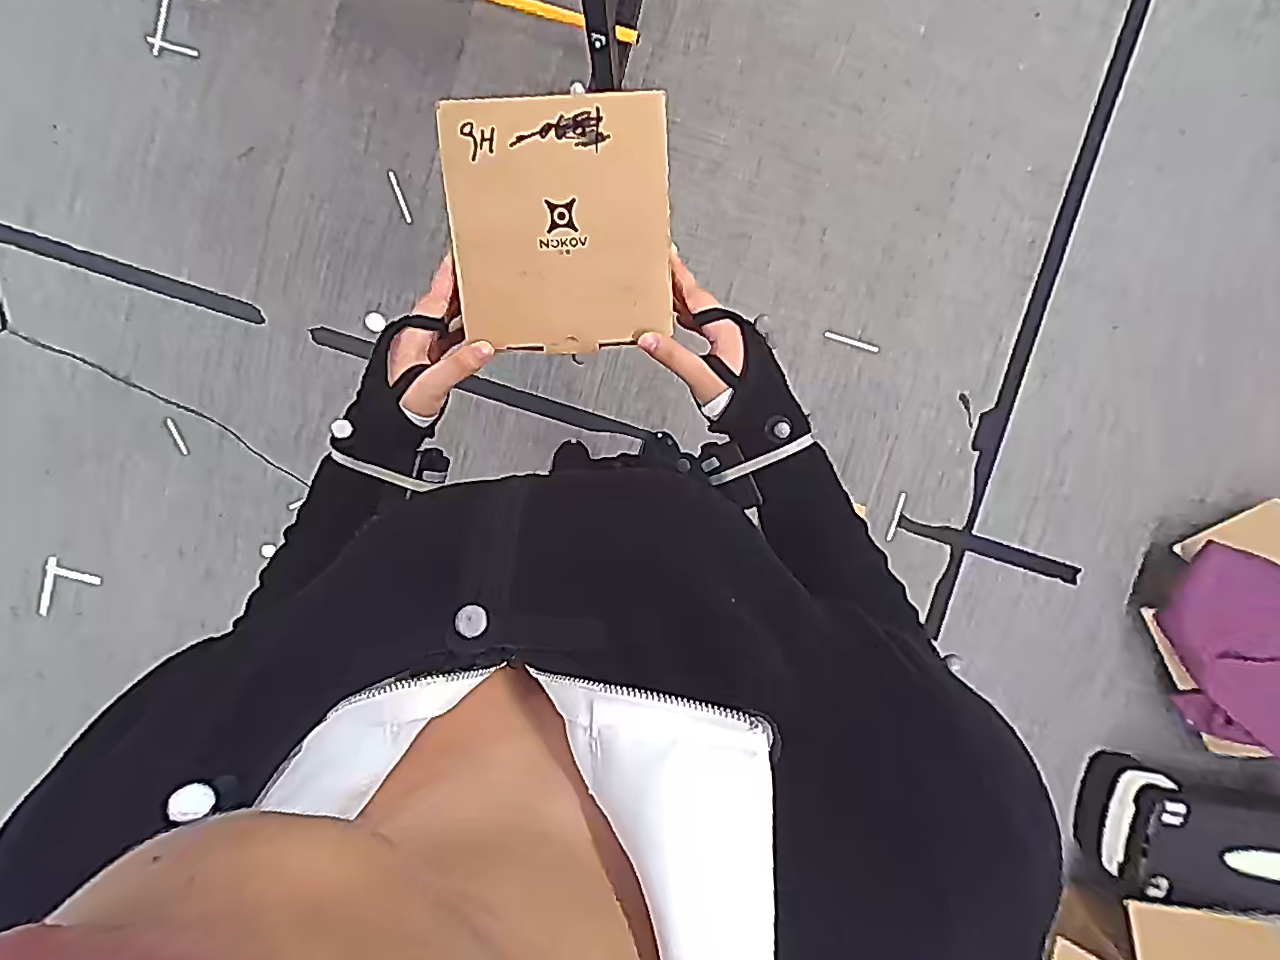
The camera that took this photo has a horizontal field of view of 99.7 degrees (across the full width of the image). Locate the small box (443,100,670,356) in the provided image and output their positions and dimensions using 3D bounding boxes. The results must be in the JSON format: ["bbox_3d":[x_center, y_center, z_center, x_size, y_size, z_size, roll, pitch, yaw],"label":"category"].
[{"bbox_3d":[-0.059,-0.212,0.492,0.168,0.176,0.179,-3,106,0],"label":"small box"}]
